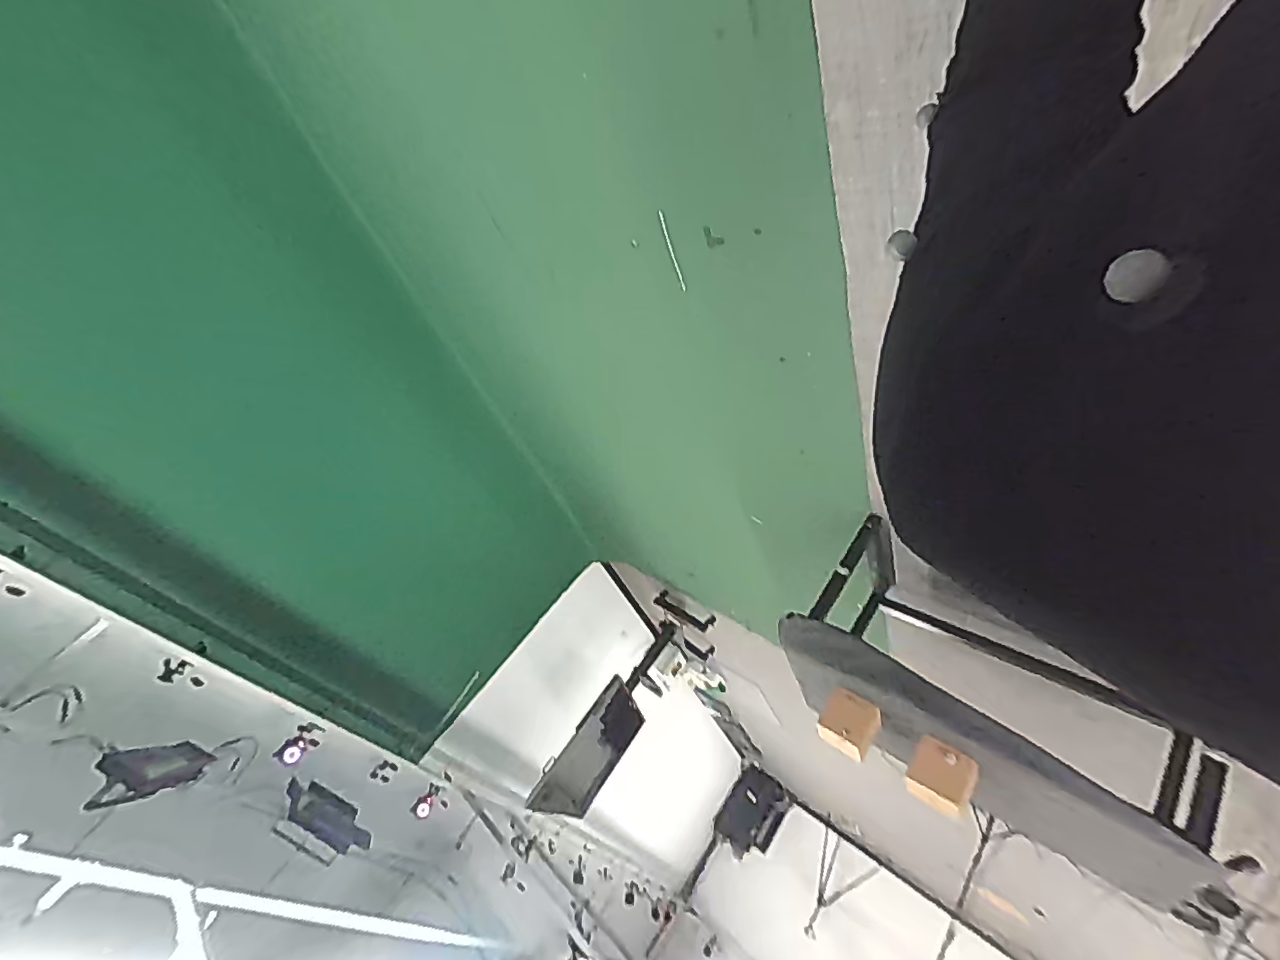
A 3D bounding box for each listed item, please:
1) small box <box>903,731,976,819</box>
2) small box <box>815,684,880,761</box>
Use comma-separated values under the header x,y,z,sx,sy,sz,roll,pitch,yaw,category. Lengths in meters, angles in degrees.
x,y,z,sx,sy,sz,roll,pitch,yaw,category
0.999,0.977,1.797,0.168,0.176,0.179,17,147,43,small box
0.773,0.895,2.003,0.168,0.176,0.179,21,151,38,small box
